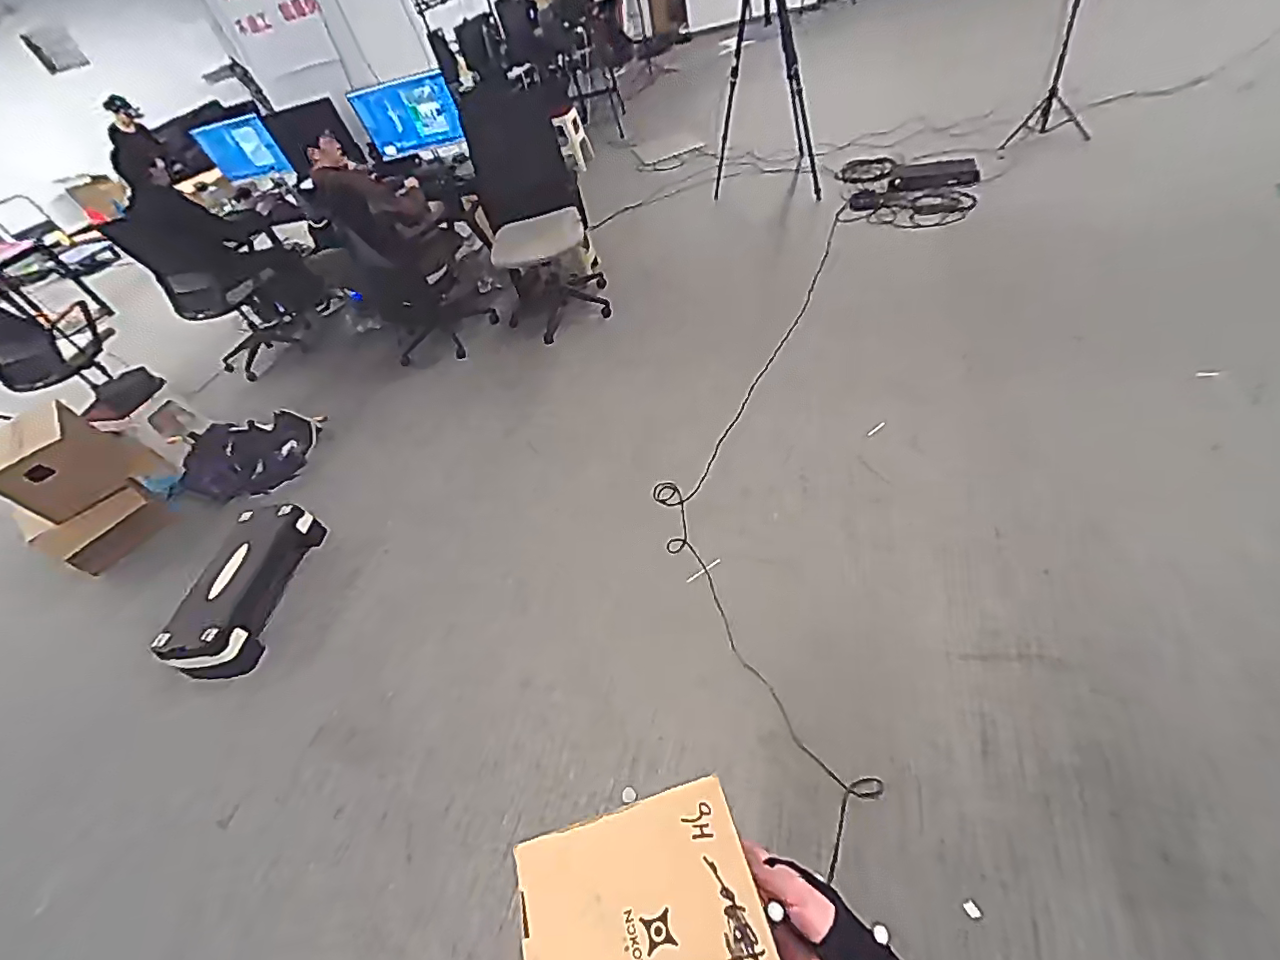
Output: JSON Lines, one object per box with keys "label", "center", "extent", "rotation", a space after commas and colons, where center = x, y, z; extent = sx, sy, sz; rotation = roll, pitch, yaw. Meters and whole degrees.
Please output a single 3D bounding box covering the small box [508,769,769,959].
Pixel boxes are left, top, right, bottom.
{"label": "small box", "center": [0.006, 0.368, 0.468], "extent": [0.179, 0.176, 0.168], "rotation": [-17, 60, -2]}
